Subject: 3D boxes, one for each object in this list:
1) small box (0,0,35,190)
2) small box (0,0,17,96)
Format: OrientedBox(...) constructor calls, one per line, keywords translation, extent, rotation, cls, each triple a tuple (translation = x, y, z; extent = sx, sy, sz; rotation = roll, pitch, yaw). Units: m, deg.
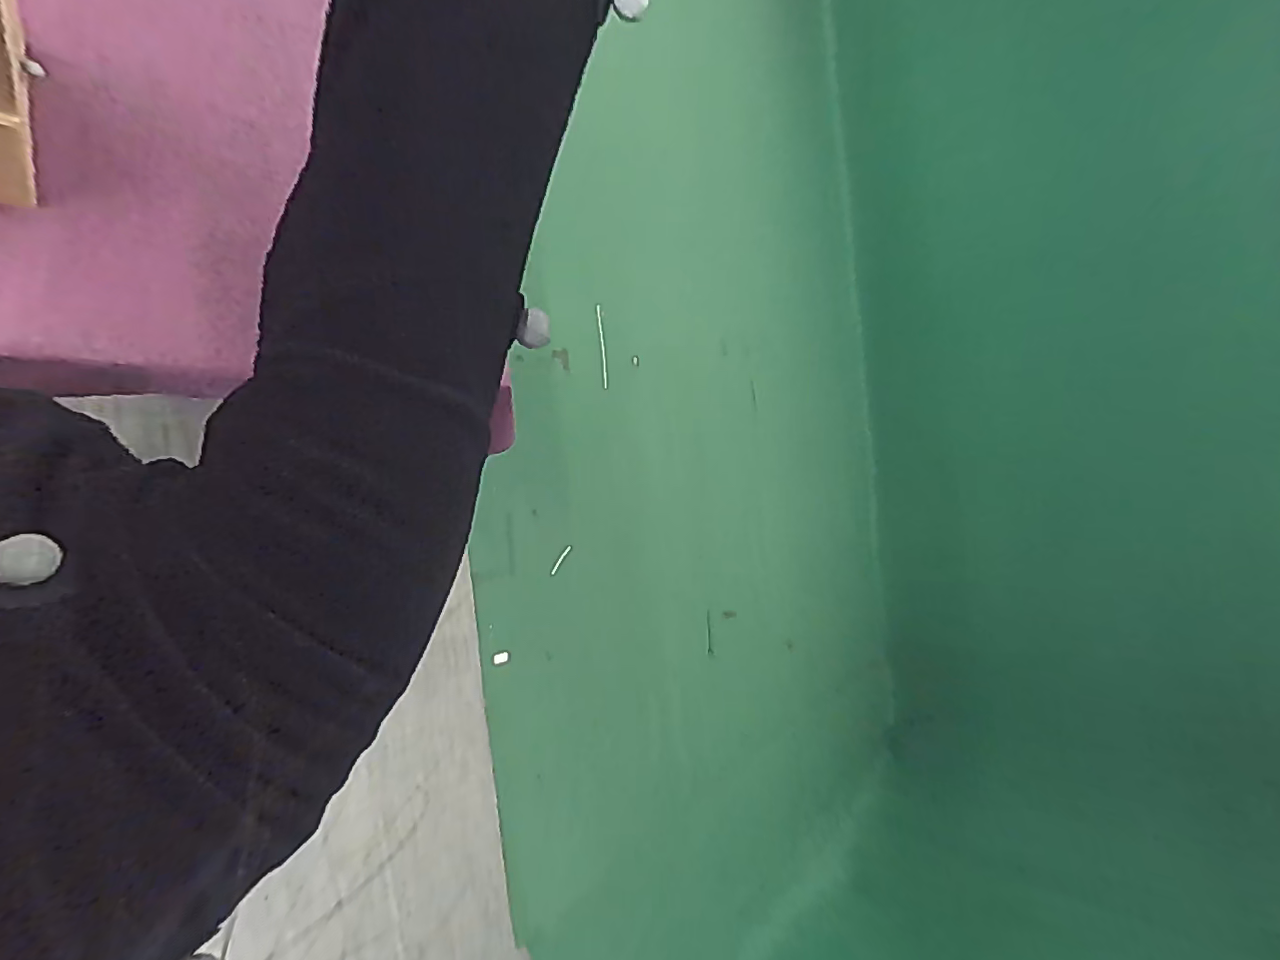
OrientedBox(translation=(-0.612, -0.366, 0.427), extent=(0.168, 0.176, 0.179), rotation=(-5, 90, -46), cls="small box")
OrientedBox(translation=(-0.496, -0.382, 0.312), extent=(0.168, 0.176, 0.179), rotation=(-5, 92, -45), cls="small box")
